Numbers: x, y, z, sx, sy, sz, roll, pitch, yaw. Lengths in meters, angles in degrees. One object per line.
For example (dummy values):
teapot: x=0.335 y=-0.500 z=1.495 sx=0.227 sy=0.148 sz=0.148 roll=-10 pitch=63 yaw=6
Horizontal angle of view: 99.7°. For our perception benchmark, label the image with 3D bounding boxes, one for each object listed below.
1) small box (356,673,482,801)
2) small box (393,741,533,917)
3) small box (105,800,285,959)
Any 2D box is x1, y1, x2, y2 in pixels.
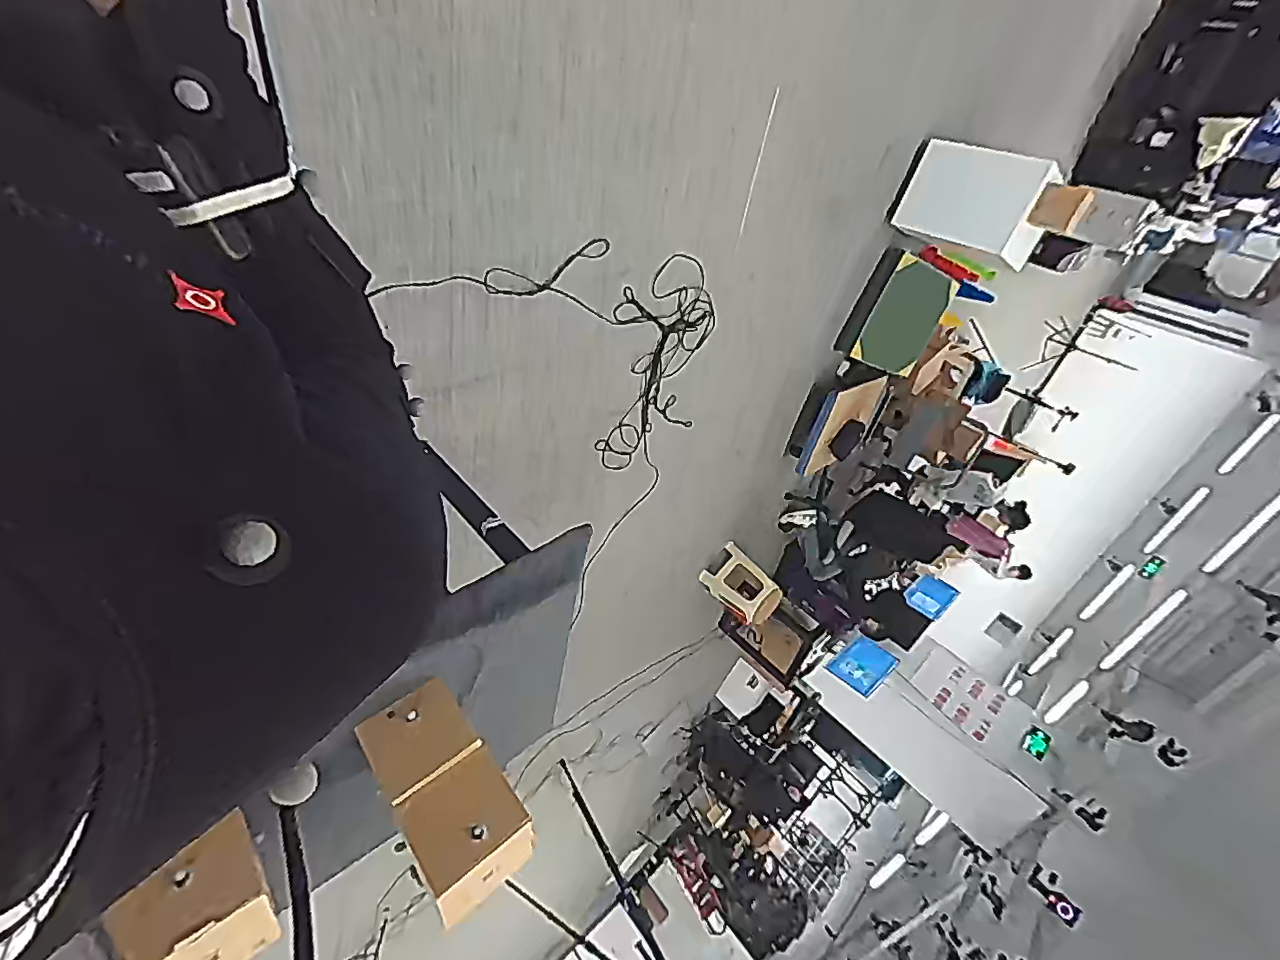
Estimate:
small box: x=-0.413 y=0.510 z=1.038 sx=0.168 sy=0.176 sz=0.179 roll=-29 pitch=141 yaw=-33
small box: x=-0.310 y=0.608 z=0.960 sx=0.179 sy=0.176 sz=0.168 roll=-25 pitch=138 yaw=-35
small box: x=-0.676 y=0.636 z=0.829 sx=0.168 sy=0.176 sz=0.179 roll=-20 pitch=136 yaw=-41
